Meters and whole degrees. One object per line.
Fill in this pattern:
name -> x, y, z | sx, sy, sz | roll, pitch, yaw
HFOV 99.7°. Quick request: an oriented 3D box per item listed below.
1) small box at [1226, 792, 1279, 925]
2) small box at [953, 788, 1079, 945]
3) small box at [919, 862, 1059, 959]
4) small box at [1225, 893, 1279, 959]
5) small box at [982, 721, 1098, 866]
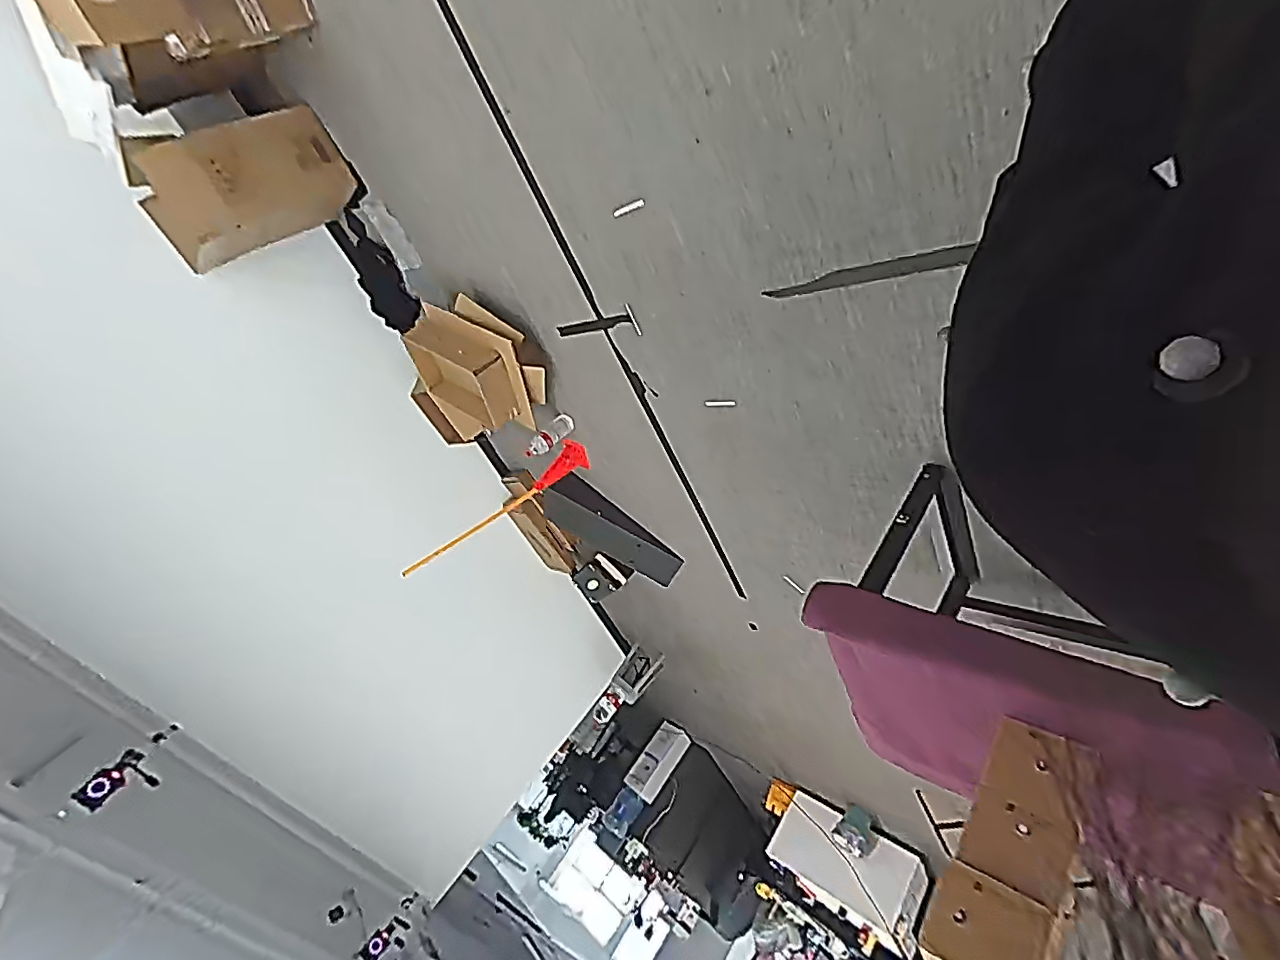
small box -> 1.049, 0.632, 0.843 | 0.168, 0.176, 0.179 | 8, 136, 46
small box -> 0.730, 0.746, 1.046 | 0.168, 0.176, 0.179 | 9, 135, 45
small box -> 0.621, 0.830, 0.958 | 0.168, 0.176, 0.179 | 7, 135, 48
small box -> 0.954, 0.741, 0.765 | 0.168, 0.176, 0.179 | 6, 134, 48
small box -> 0.829, 0.640, 1.123 | 0.168, 0.176, 0.179 | 10, 137, 45
